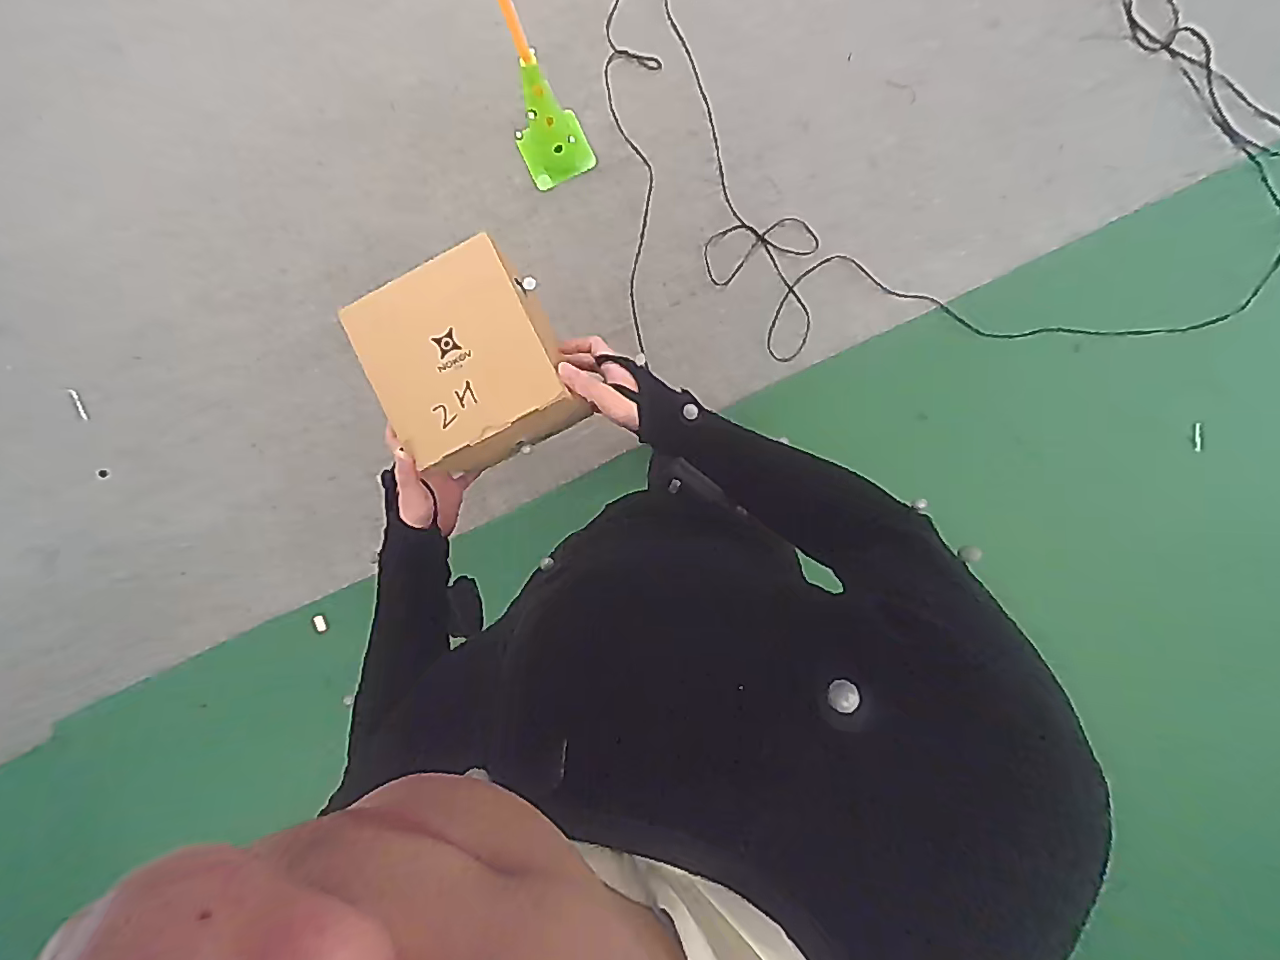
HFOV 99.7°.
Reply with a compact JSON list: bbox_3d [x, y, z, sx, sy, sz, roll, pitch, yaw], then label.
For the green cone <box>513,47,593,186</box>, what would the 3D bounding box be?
[{"bbox_3d":[-0.268,-1.028,1.492,0.202,0.368,0.200,-26,89,0],"label":"green cone"}]
